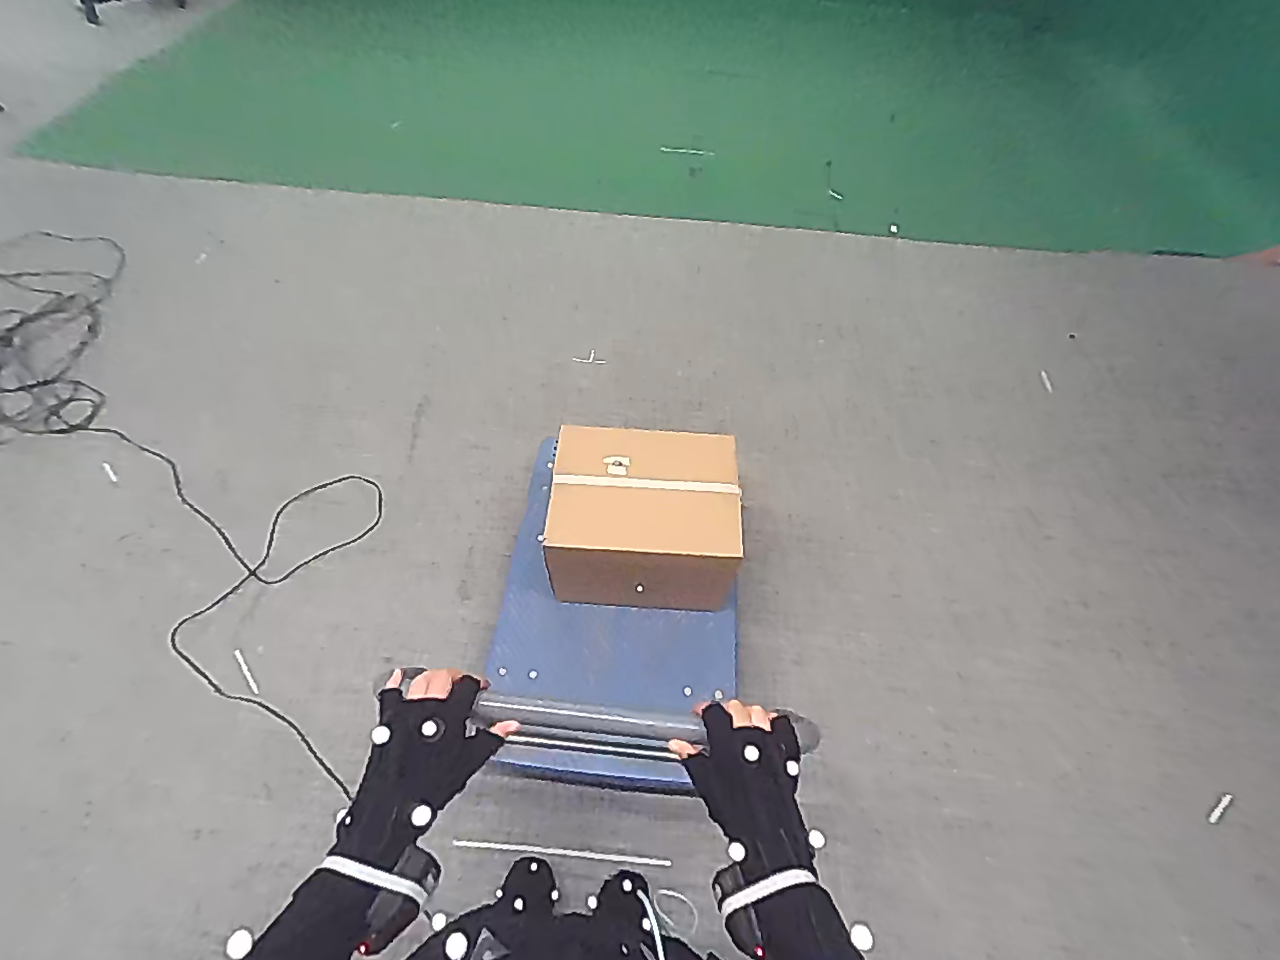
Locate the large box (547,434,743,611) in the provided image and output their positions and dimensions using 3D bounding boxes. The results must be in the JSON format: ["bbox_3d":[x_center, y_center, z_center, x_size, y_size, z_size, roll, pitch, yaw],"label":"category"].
[{"bbox_3d":[0.011,0.111,1.292,0.408,0.320,0.320,3,55,0],"label":"large box"}]
